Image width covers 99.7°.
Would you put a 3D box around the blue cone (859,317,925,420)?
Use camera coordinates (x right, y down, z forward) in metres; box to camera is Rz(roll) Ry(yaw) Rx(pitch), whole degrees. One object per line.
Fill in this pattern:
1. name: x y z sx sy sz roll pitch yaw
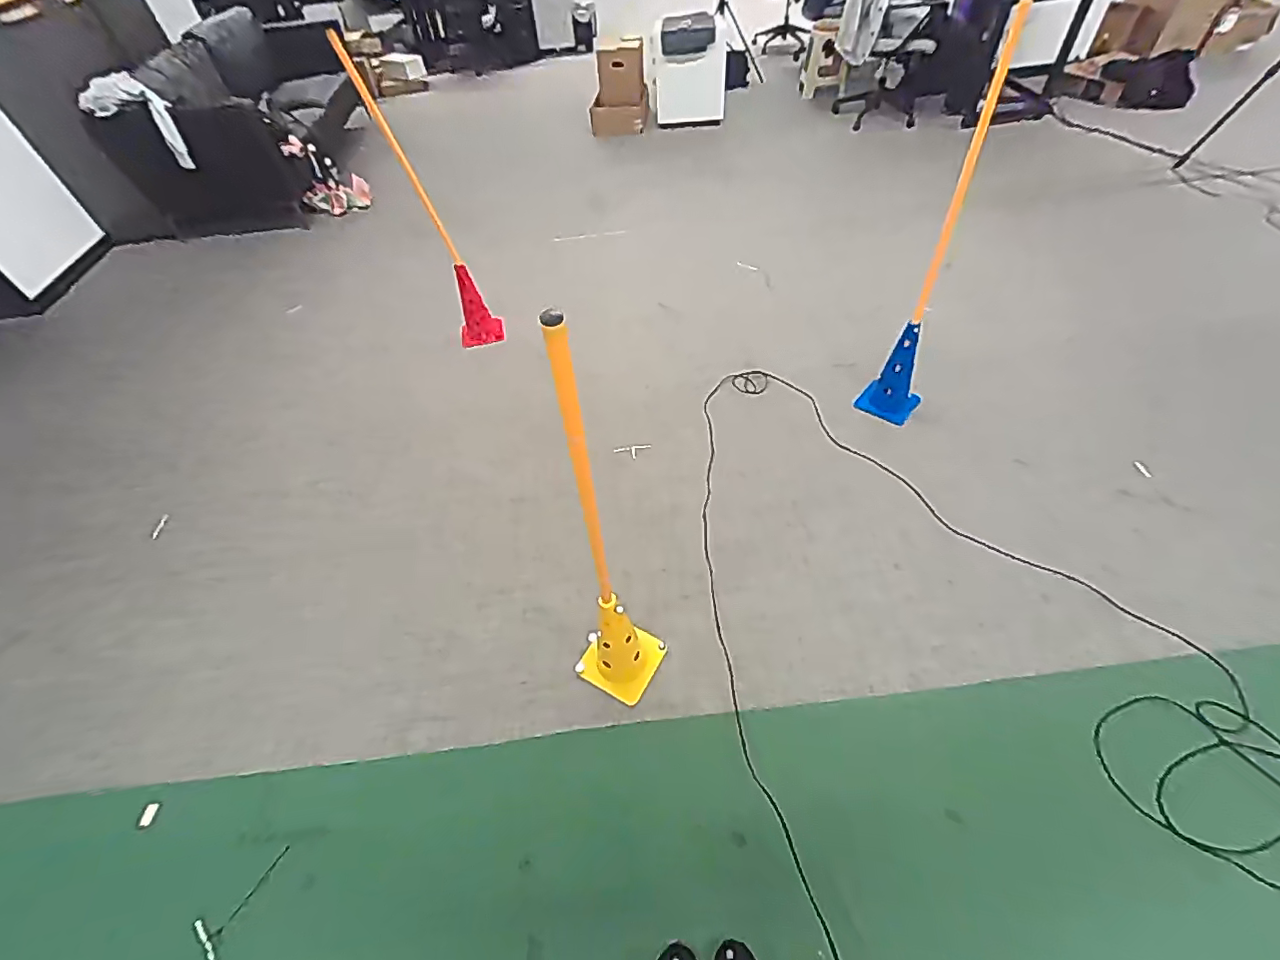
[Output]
1. blue cone: 0.959 -0.426 1.989 0.192 0.380 0.193 29 56 27
